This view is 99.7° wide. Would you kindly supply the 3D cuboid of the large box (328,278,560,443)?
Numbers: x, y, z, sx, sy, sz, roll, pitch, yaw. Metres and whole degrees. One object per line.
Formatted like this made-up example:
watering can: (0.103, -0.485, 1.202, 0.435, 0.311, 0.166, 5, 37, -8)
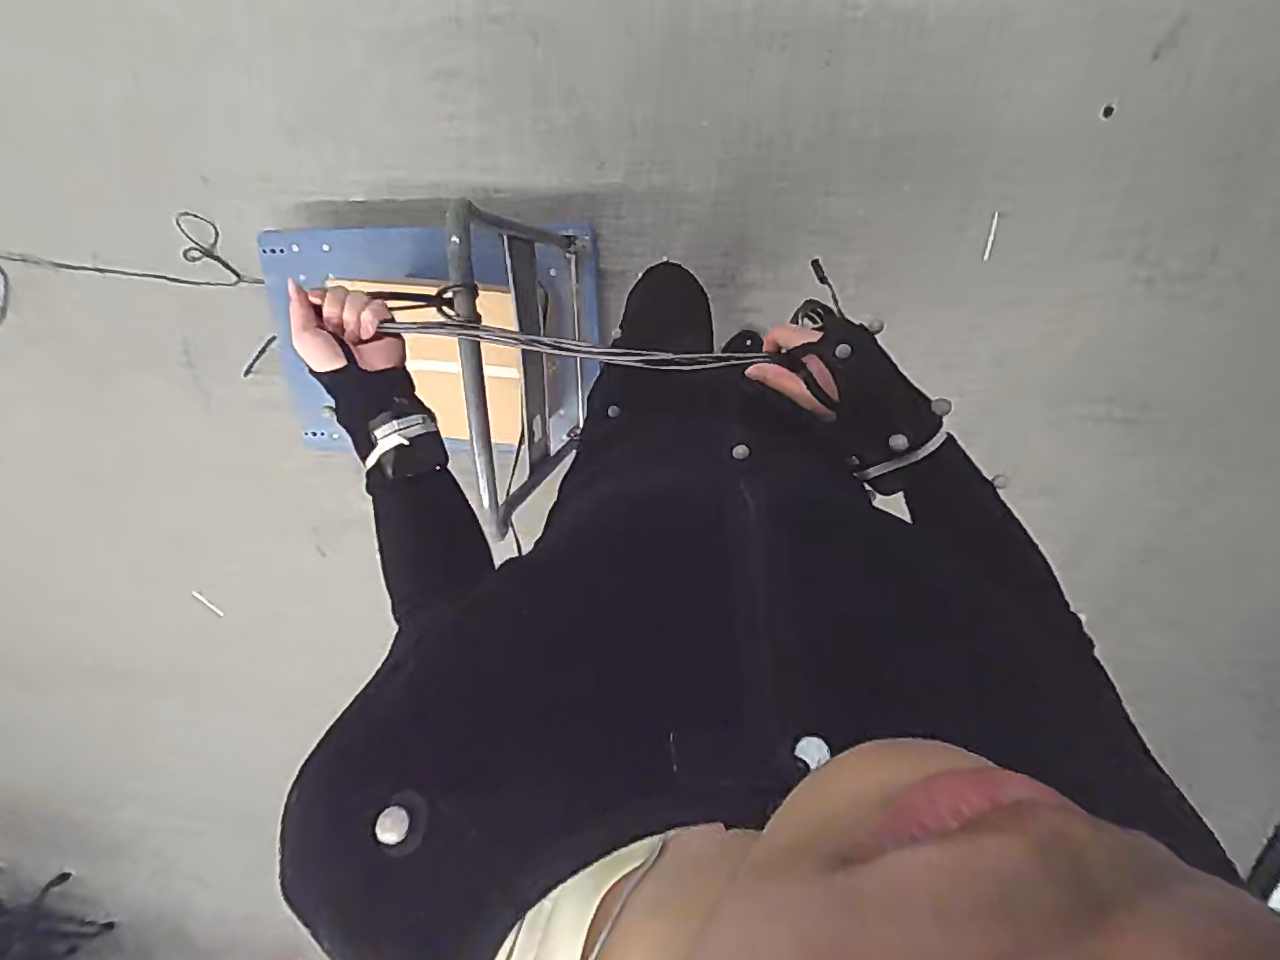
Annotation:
large box: (-0.415, -0.291, 1.249, 0.408, 0.320, 0.320, 6, 111, 4)
